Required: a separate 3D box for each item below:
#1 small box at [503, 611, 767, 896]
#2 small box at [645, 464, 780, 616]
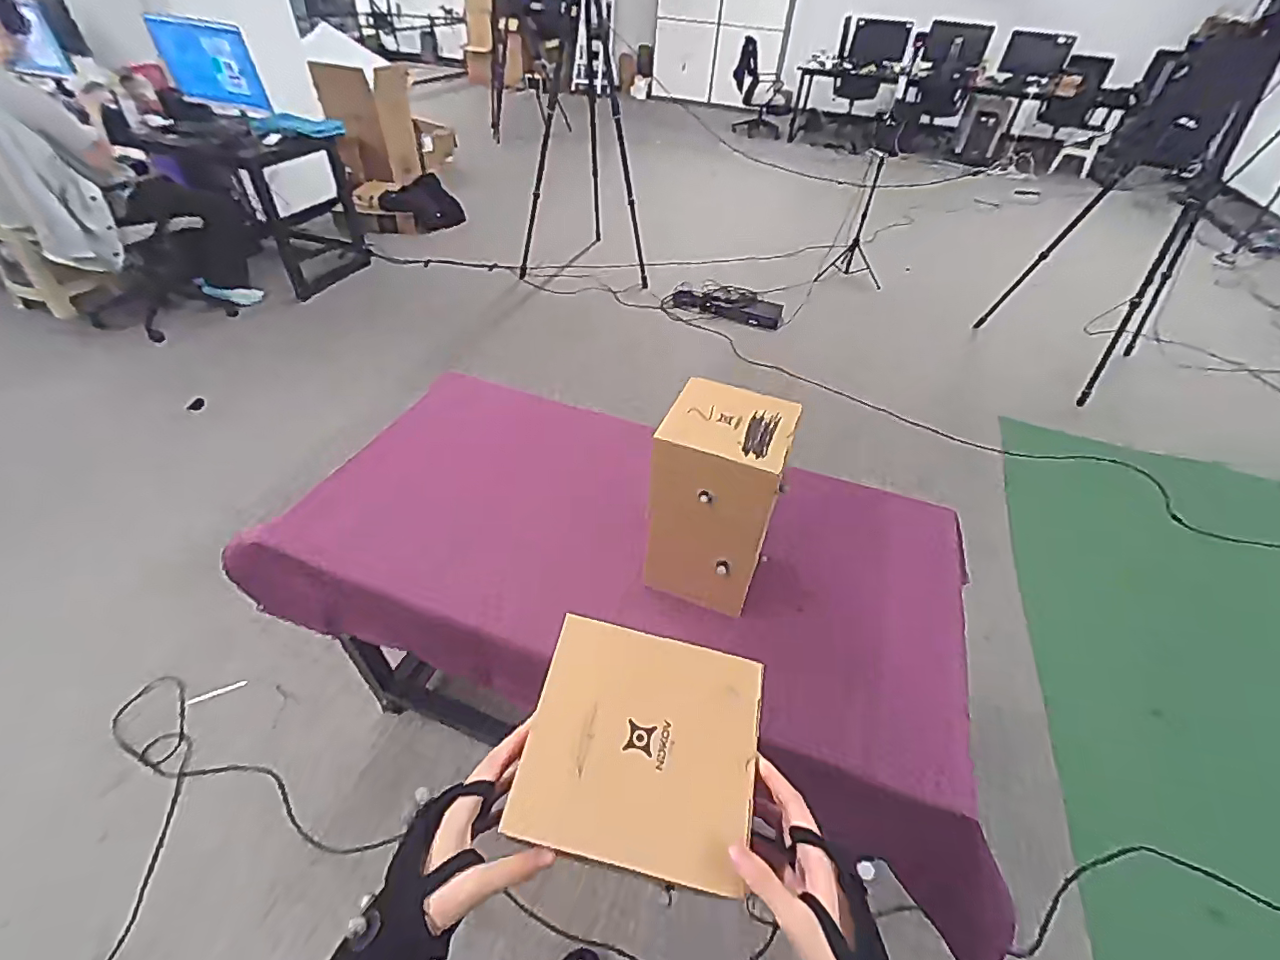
[{"bbox_3d":[-0.001,0.244,0.481,0.179,0.176,0.168,13,52,4],"label":"small box"},{"bbox_3d":[0.120,0.105,0.920,0.179,0.176,0.168,17,45,14],"label":"small box"}]
